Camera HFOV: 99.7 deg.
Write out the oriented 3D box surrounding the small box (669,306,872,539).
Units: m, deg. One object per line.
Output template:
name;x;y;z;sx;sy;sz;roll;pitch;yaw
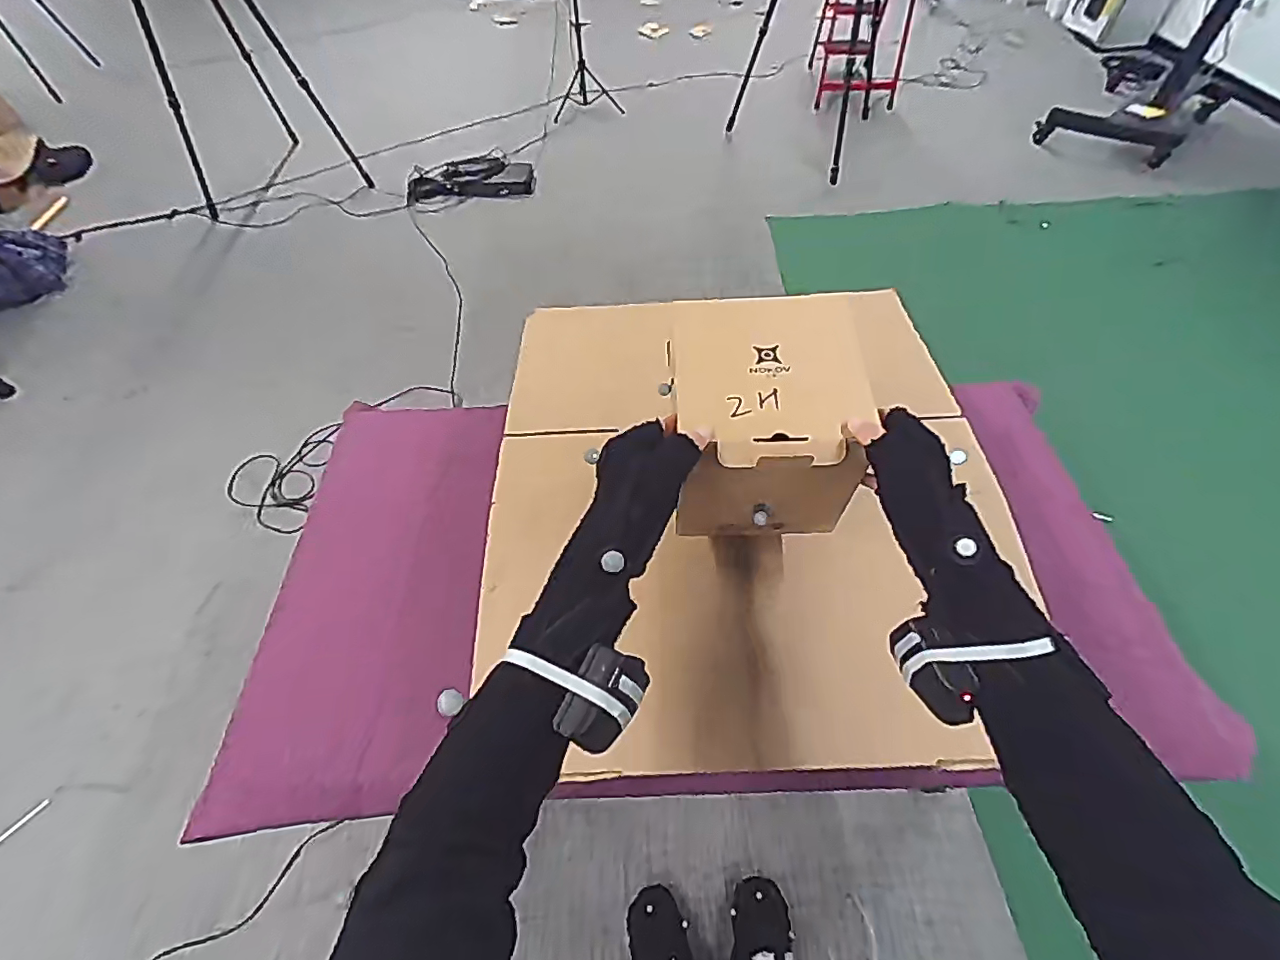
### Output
small box;0.113;-0.054;0.556;0.168;0.176;0.179;-1;57;3
